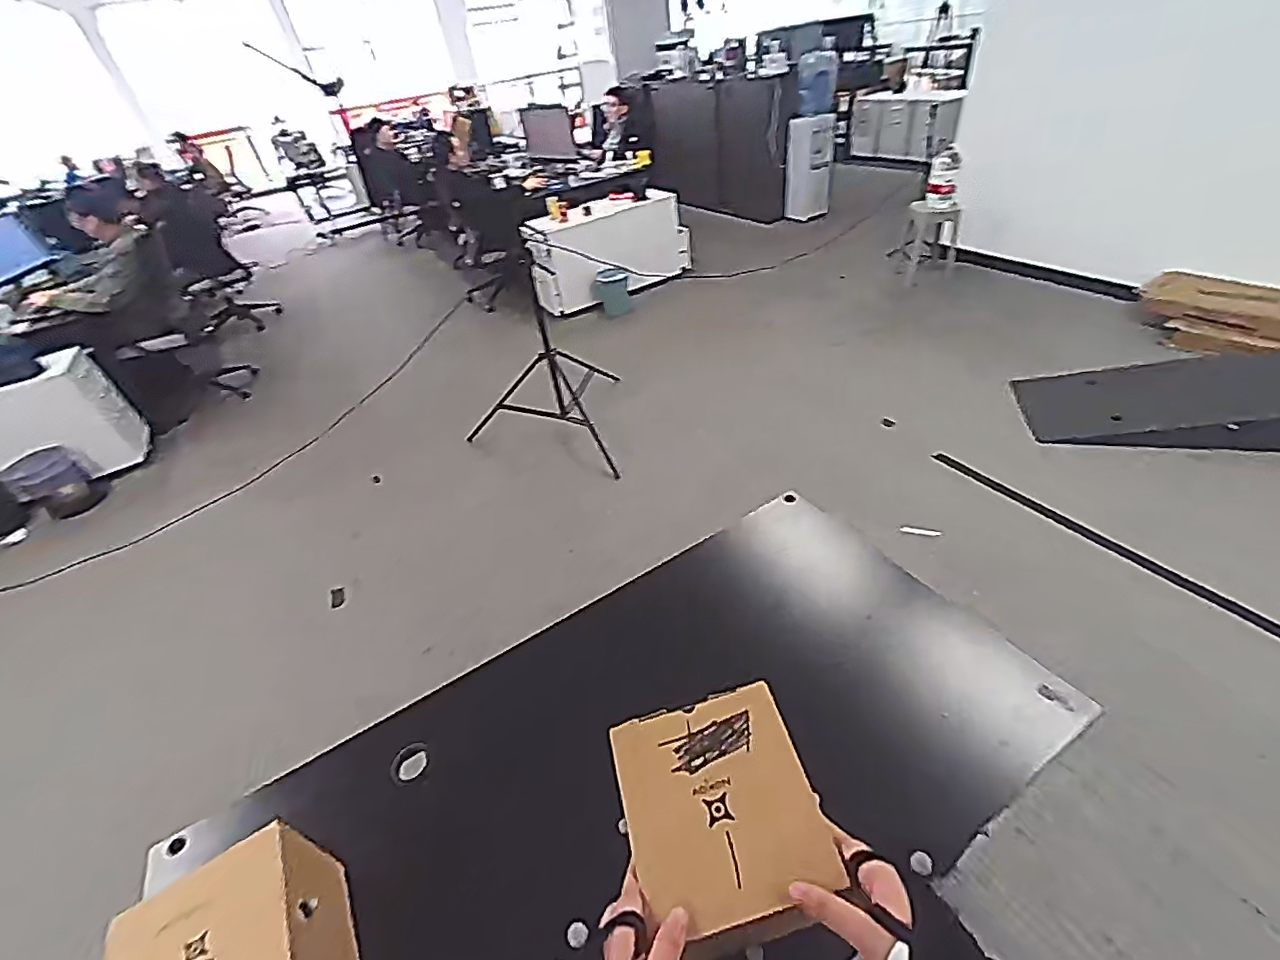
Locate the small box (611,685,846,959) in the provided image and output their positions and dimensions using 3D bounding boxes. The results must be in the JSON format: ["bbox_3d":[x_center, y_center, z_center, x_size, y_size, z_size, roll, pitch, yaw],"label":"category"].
[{"bbox_3d":[0.079,0.340,0.535,0.168,0.176,0.179,-16,44,-2],"label":"small box"}]

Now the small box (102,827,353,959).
[{"bbox_3d":[-0.430,0.531,0.582,0.168,0.176,0.179,-26,41,-22],"label":"small box"}]
